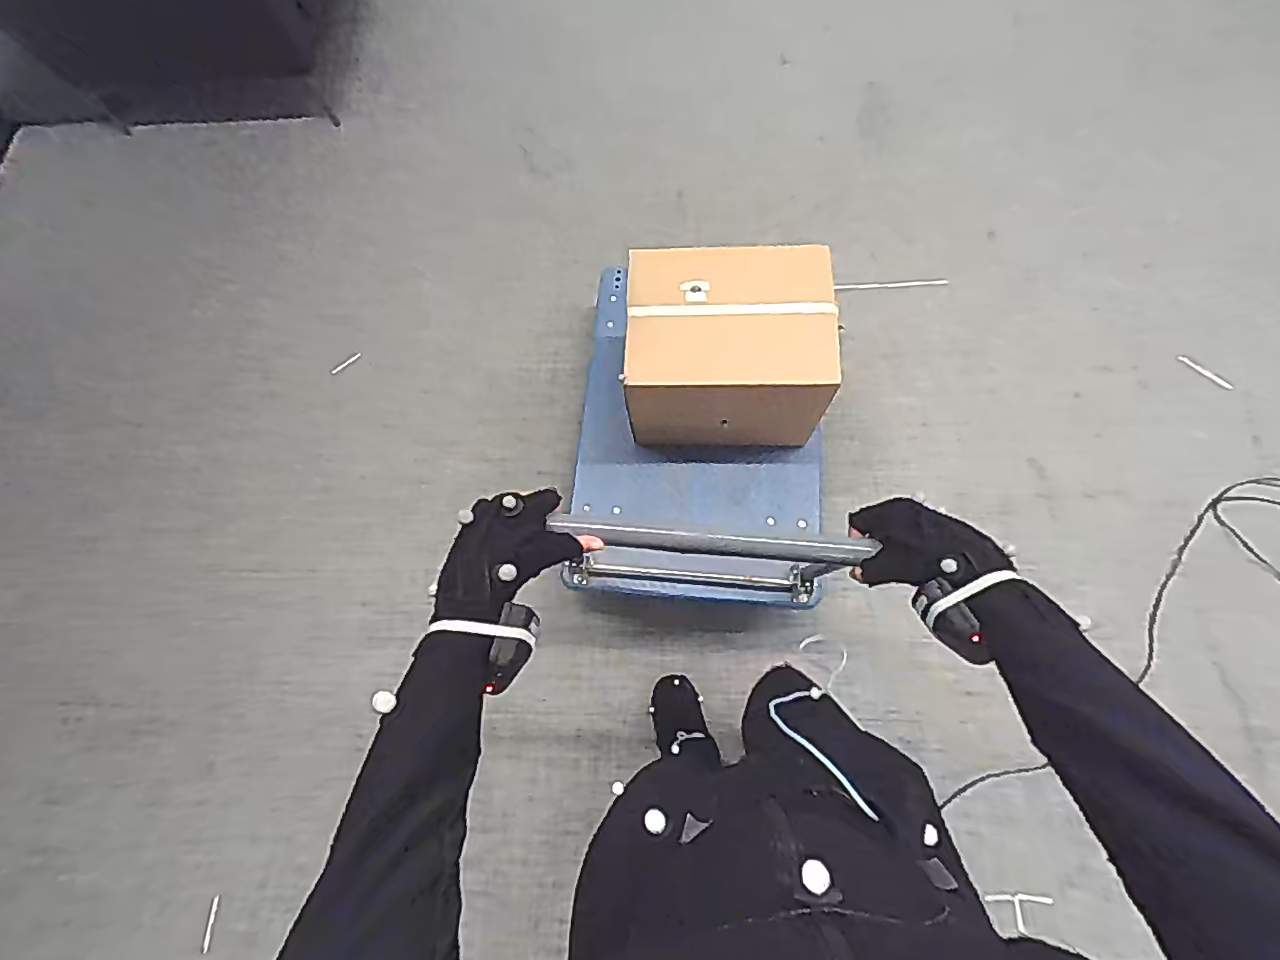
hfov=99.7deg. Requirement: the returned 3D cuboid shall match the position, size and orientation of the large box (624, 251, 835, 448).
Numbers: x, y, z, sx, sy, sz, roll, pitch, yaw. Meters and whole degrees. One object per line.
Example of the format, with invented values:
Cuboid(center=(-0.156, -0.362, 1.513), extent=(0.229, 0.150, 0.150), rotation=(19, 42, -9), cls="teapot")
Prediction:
Cuboid(center=(0.181, -0.270, 1.207), extent=(0.408, 0.320, 0.320), rotation=(-1, 72, 5), cls="large box")
